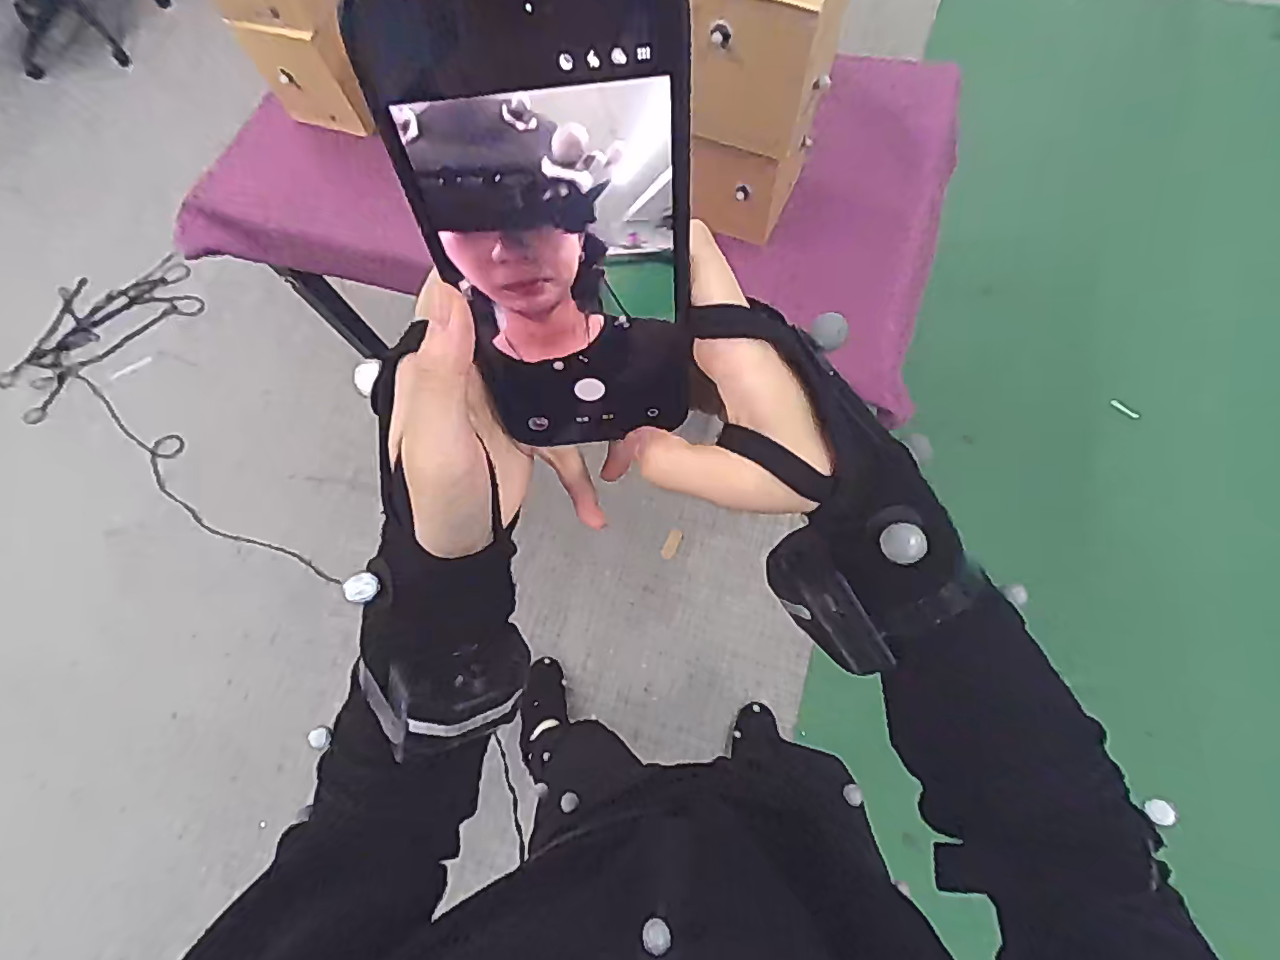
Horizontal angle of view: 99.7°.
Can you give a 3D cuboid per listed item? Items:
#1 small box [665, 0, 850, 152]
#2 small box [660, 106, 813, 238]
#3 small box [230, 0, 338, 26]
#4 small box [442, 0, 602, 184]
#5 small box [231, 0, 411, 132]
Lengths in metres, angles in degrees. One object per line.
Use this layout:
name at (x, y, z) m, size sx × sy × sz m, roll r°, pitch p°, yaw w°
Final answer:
small box at (0.135, -0.529, 0.637) m, size 0.179 × 0.176 × 0.168 m, roll 24°, pitch 74°, yaw 11°
small box at (0.143, -0.492, 0.797) m, size 0.179 × 0.176 × 0.168 m, roll 24°, pitch 74°, yaw 12°
small box at (-0.539, -0.804, 0.778) m, size 0.168 × 0.176 × 0.179 m, roll 14°, pitch 73°, yaw 8°
small box at (-0.172, -0.607, 0.857) m, size 0.179 × 0.176 × 0.168 m, roll 18°, pitch 73°, yaw 10°
small box at (-0.531, -0.743, 0.931) m, size 0.168 × 0.176 × 0.179 m, roll 18°, pitch 73°, yaw 10°
